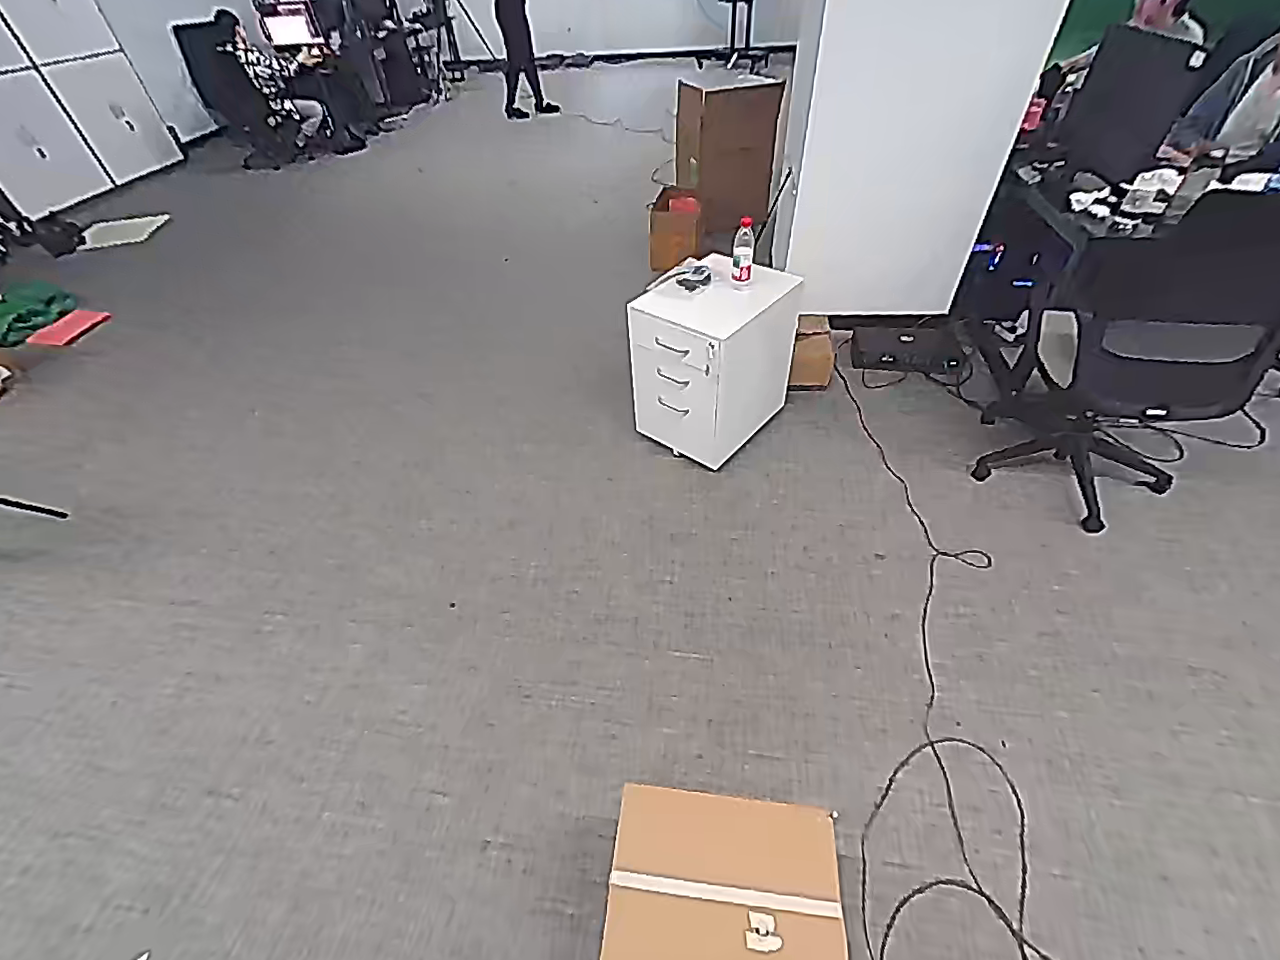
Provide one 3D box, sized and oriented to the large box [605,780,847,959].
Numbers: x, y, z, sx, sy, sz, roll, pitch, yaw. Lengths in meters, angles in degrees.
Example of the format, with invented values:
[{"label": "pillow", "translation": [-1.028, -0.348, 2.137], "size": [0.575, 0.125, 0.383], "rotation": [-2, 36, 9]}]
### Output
[{"label": "large box", "translation": [0.157, 0.827, 1.065], "size": [0.408, 0.320, 0.320], "rotation": [4, 46, 7]}]
